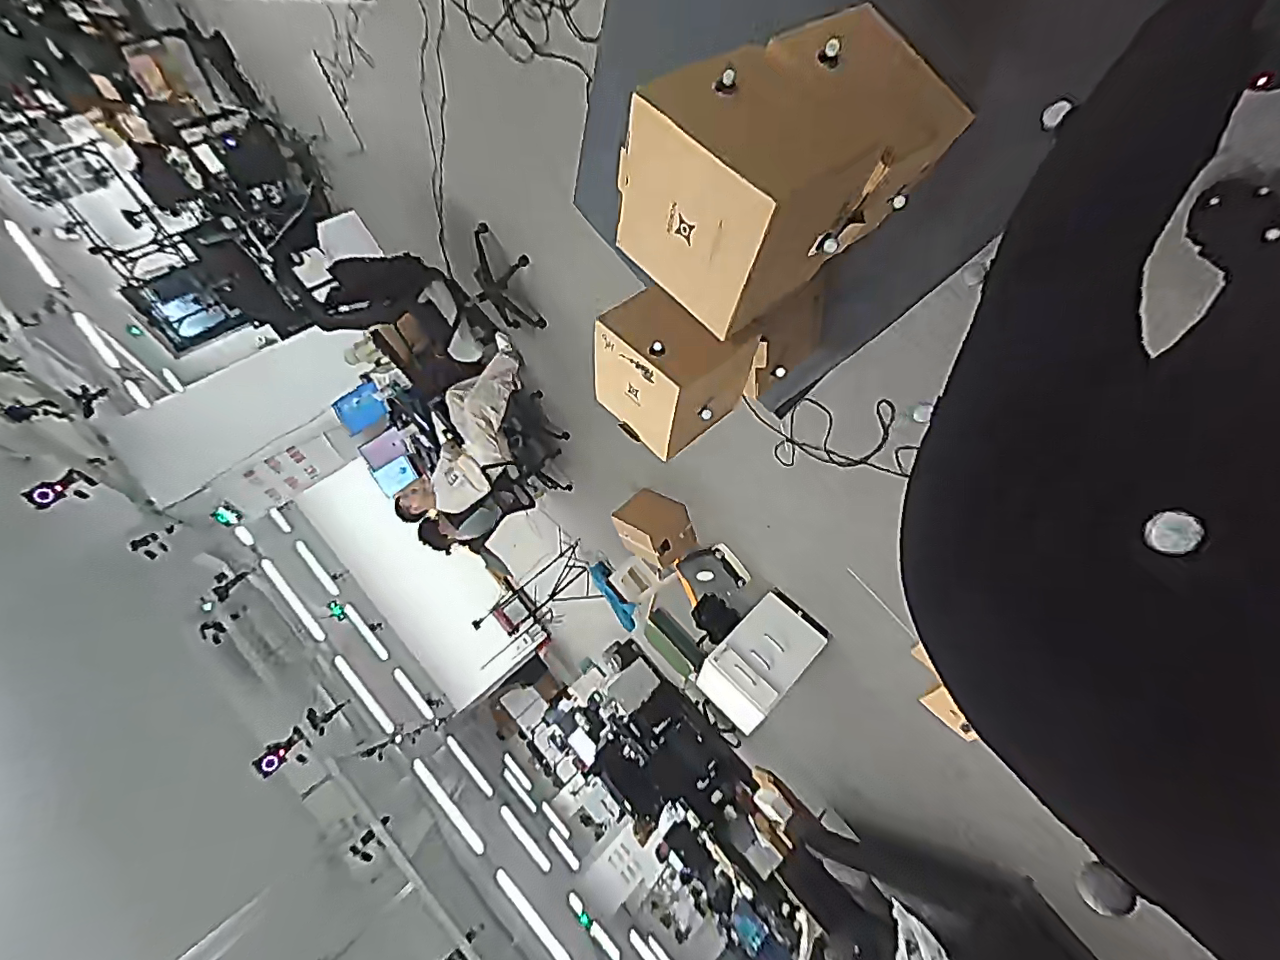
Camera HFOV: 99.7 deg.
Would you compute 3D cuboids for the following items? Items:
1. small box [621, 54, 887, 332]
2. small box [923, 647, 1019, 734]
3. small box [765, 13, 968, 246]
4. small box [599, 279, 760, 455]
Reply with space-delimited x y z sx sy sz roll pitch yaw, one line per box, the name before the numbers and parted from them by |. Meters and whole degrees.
small box | 0.105 -0.294 0.553 0.179 0.176 0.168 45 157 14
small box | 1.052 0.666 1.717 0.179 0.176 0.168 41 153 23
small box | 0.221 -0.386 0.620 0.179 0.176 0.168 50 158 4
small box | 0.056 -0.177 0.813 0.168 0.176 0.179 43 156 20
